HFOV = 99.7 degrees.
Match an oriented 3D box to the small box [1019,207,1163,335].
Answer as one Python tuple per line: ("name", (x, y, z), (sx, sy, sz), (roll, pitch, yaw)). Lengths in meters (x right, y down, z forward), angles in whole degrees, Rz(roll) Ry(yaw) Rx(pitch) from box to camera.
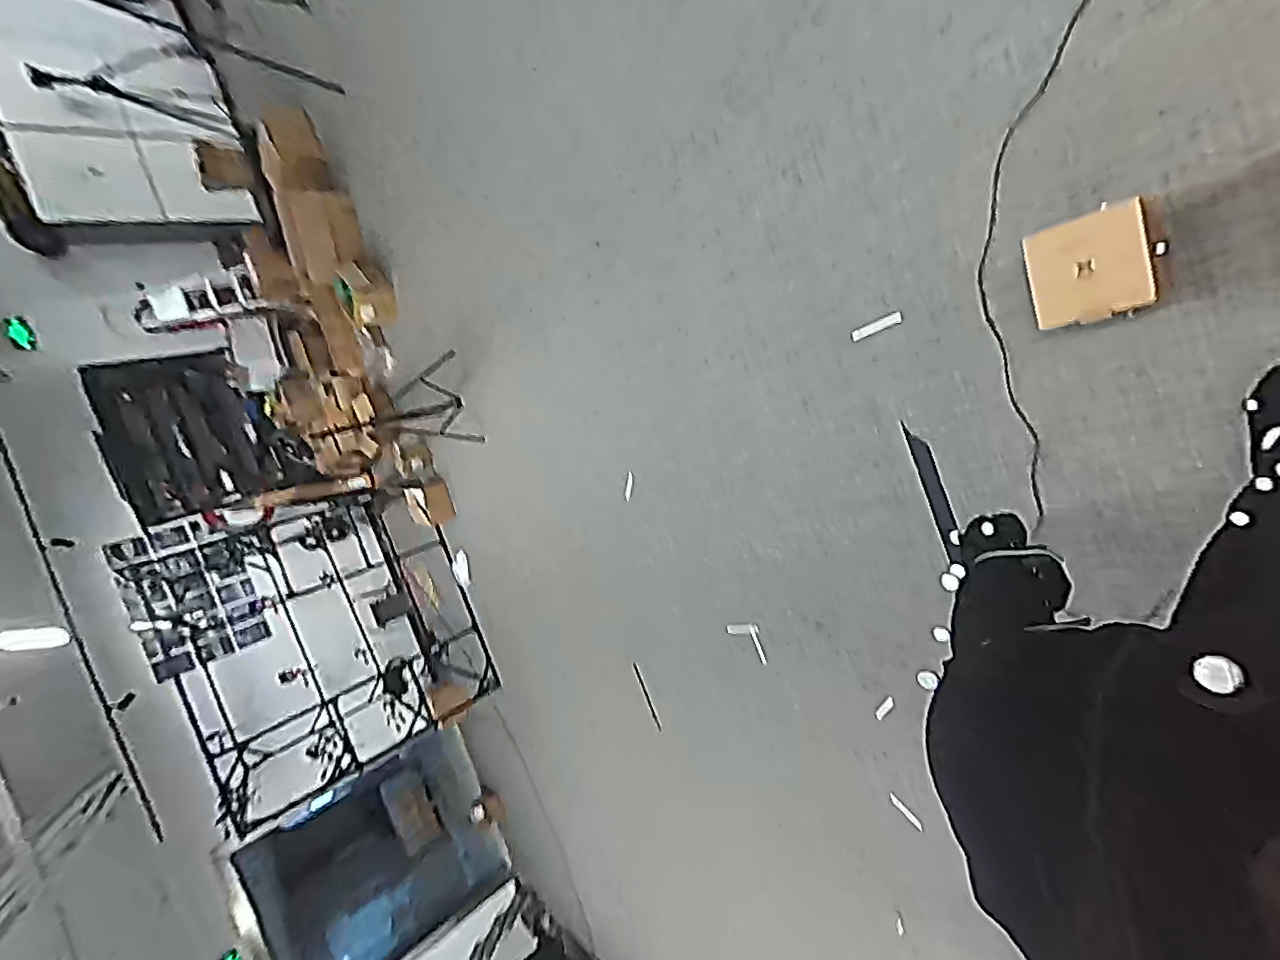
("small box", (0.841, -0.387, 1.005), (0.168, 0.176, 0.179), (-7, 101, 52))
